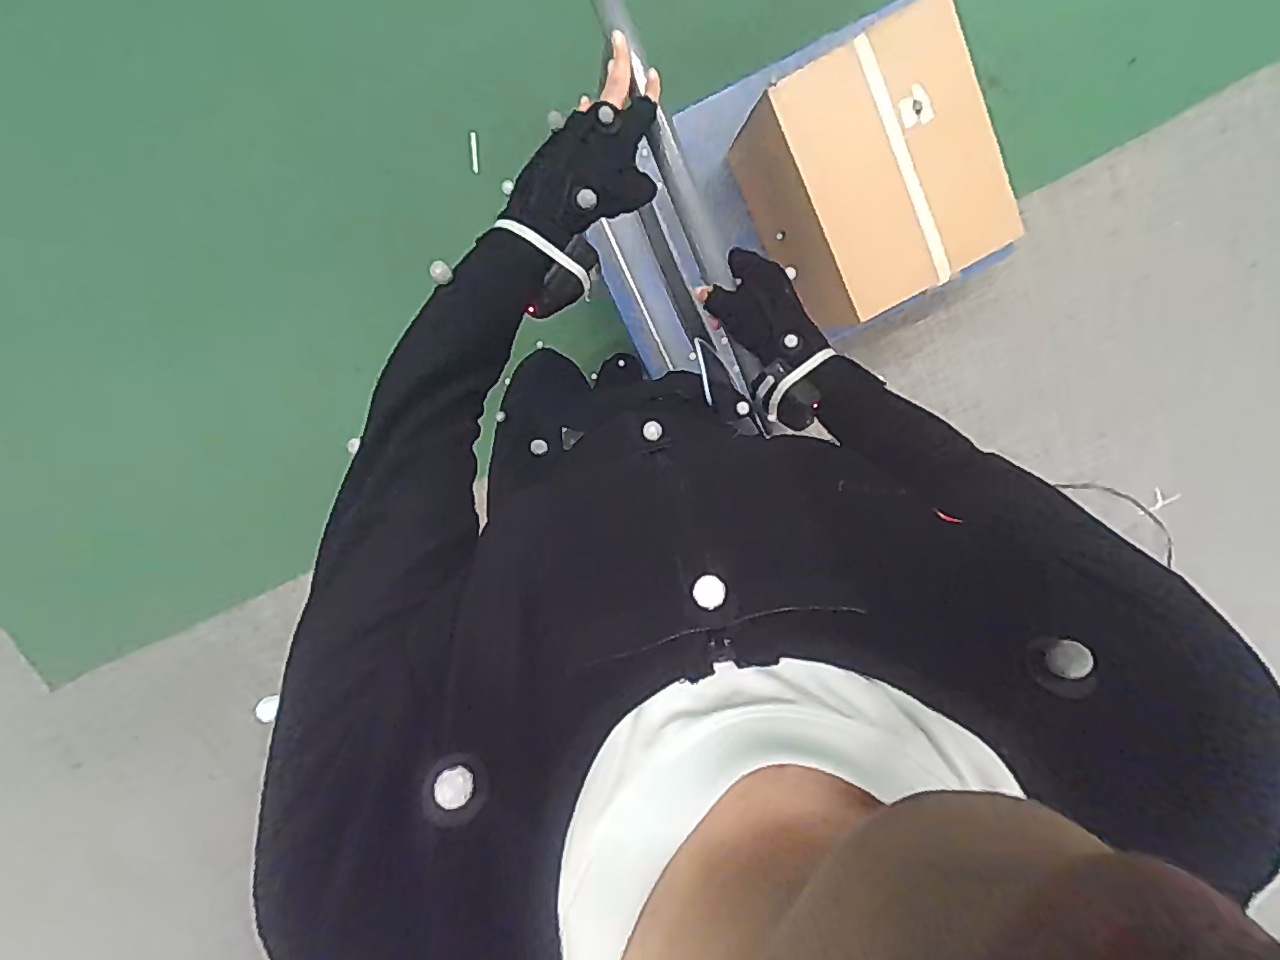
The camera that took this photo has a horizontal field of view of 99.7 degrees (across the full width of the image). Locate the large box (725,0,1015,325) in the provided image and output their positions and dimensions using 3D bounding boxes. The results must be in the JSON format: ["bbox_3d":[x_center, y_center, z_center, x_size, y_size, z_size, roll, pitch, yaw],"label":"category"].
[{"bbox_3d":[0.410,-0.557,1.035,0.320,0.320,0.408,-28,103,3],"label":"large box"}]
